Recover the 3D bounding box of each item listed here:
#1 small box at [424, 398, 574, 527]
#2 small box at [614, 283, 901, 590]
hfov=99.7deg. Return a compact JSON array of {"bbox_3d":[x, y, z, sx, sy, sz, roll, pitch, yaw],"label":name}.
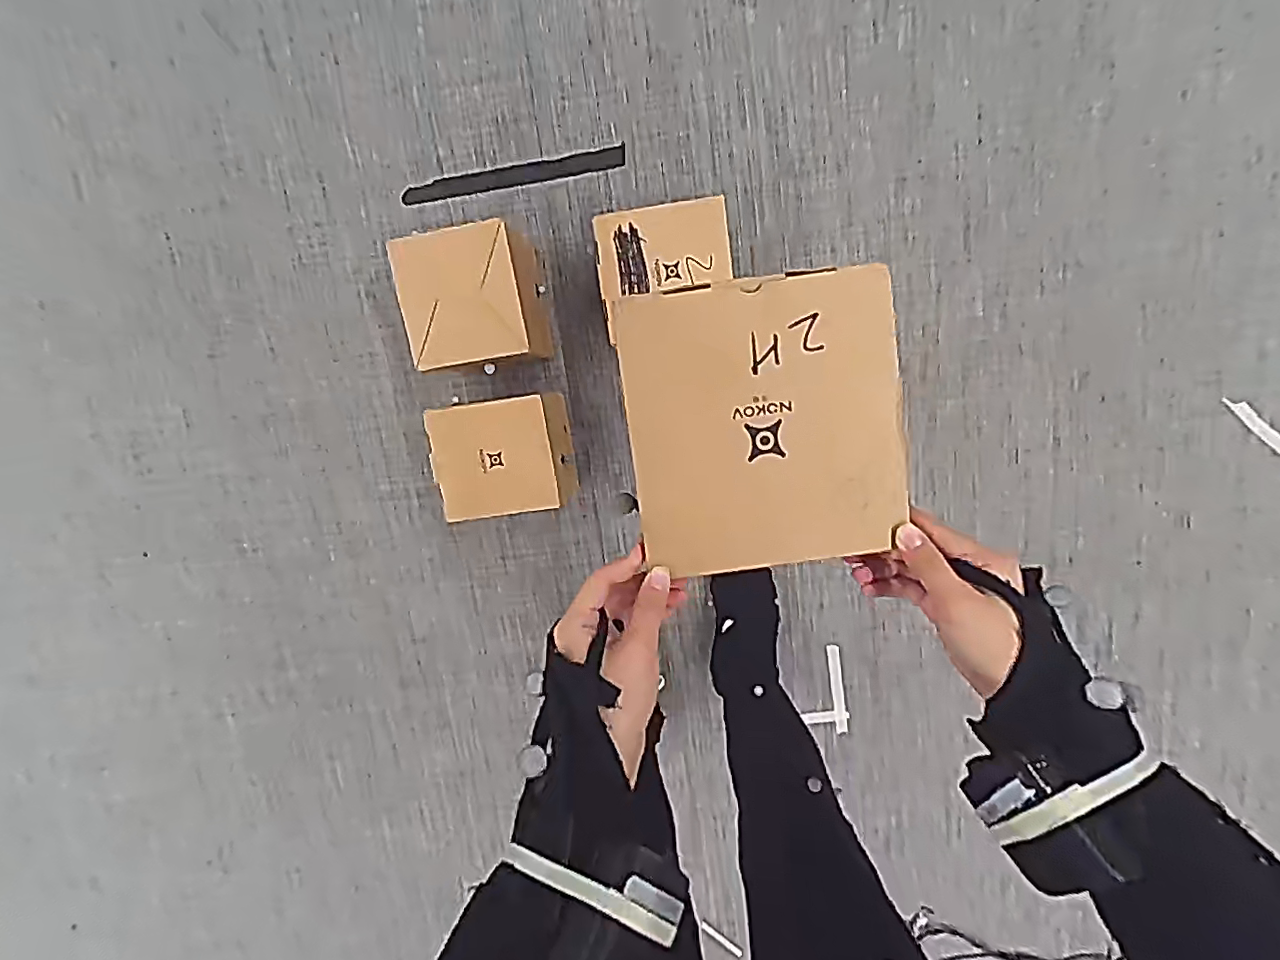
[{"bbox_3d":[-0.207,-0.035,0.850,0.179,0.176,0.168,-8,100,5],"label":"small box"},{"bbox_3d":[0.075,-0.034,0.412,0.168,0.176,0.179,-7,96,0],"label":"small box"}]
